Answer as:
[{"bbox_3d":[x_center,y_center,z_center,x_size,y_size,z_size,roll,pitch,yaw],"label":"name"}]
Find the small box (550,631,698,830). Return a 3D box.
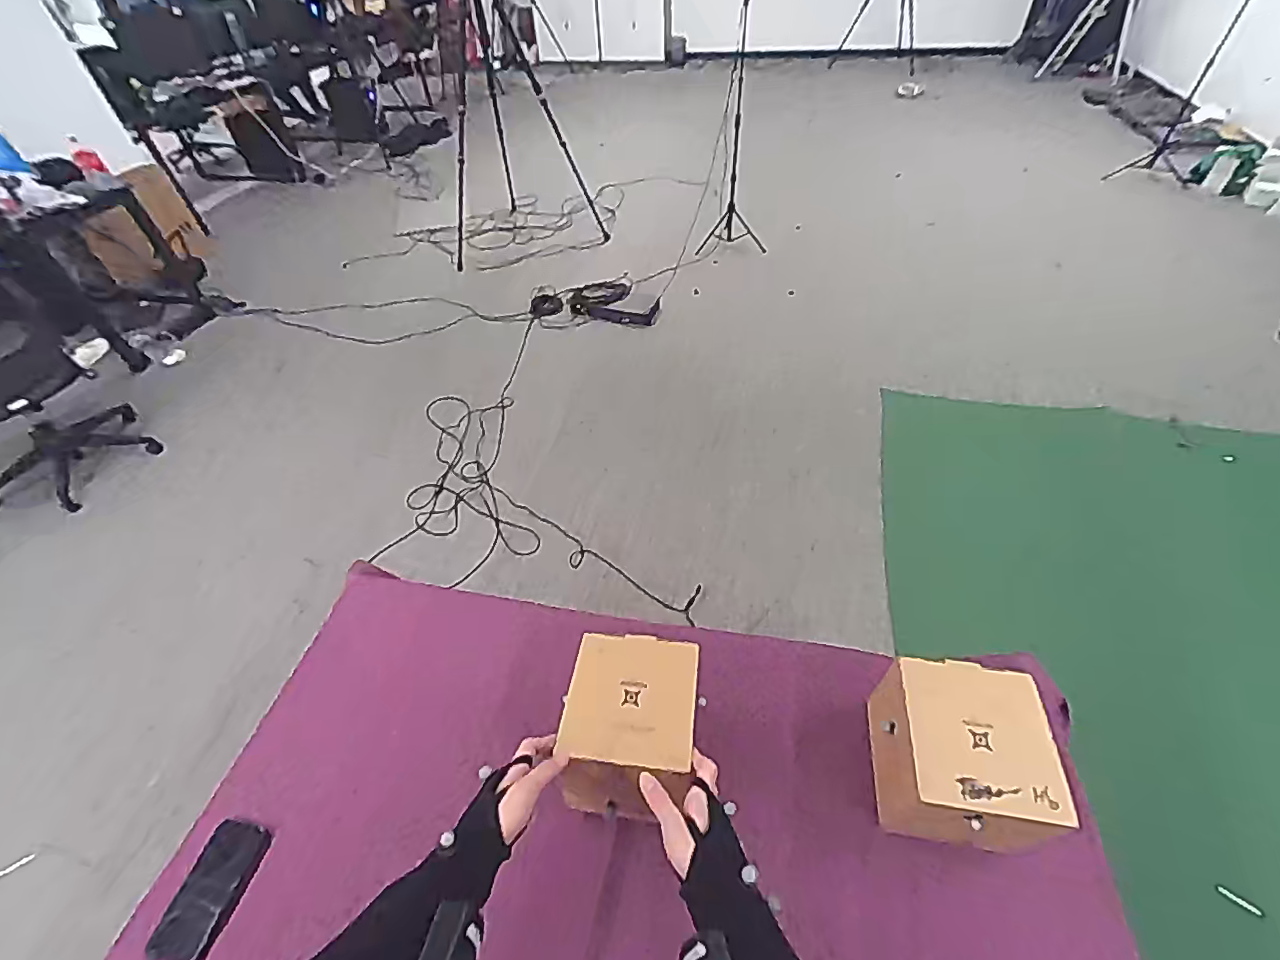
[{"bbox_3d":[-0.014,0.337,0.735,0.168,0.176,0.179,5,38,7],"label":"small box"}]

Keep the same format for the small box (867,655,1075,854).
[{"bbox_3d":[0.408,0.358,0.708,0.168,0.176,0.179,5,47,9],"label":"small box"}]
